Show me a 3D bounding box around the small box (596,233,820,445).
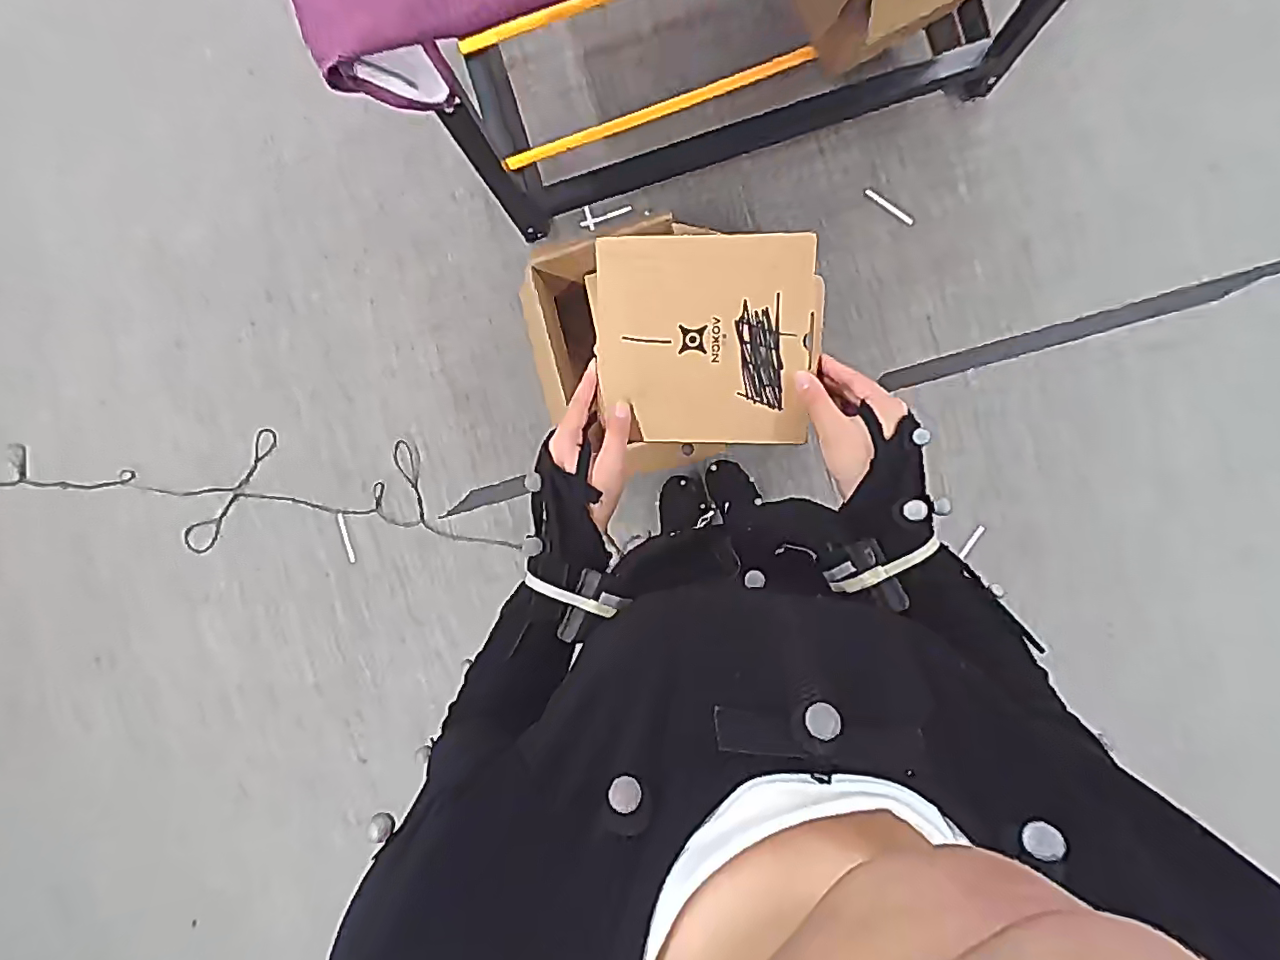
[{"bbox_3d":[0.057,-0.123,0.514,0.179,0.176,0.168,2,97,4],"label":"small box"}]
